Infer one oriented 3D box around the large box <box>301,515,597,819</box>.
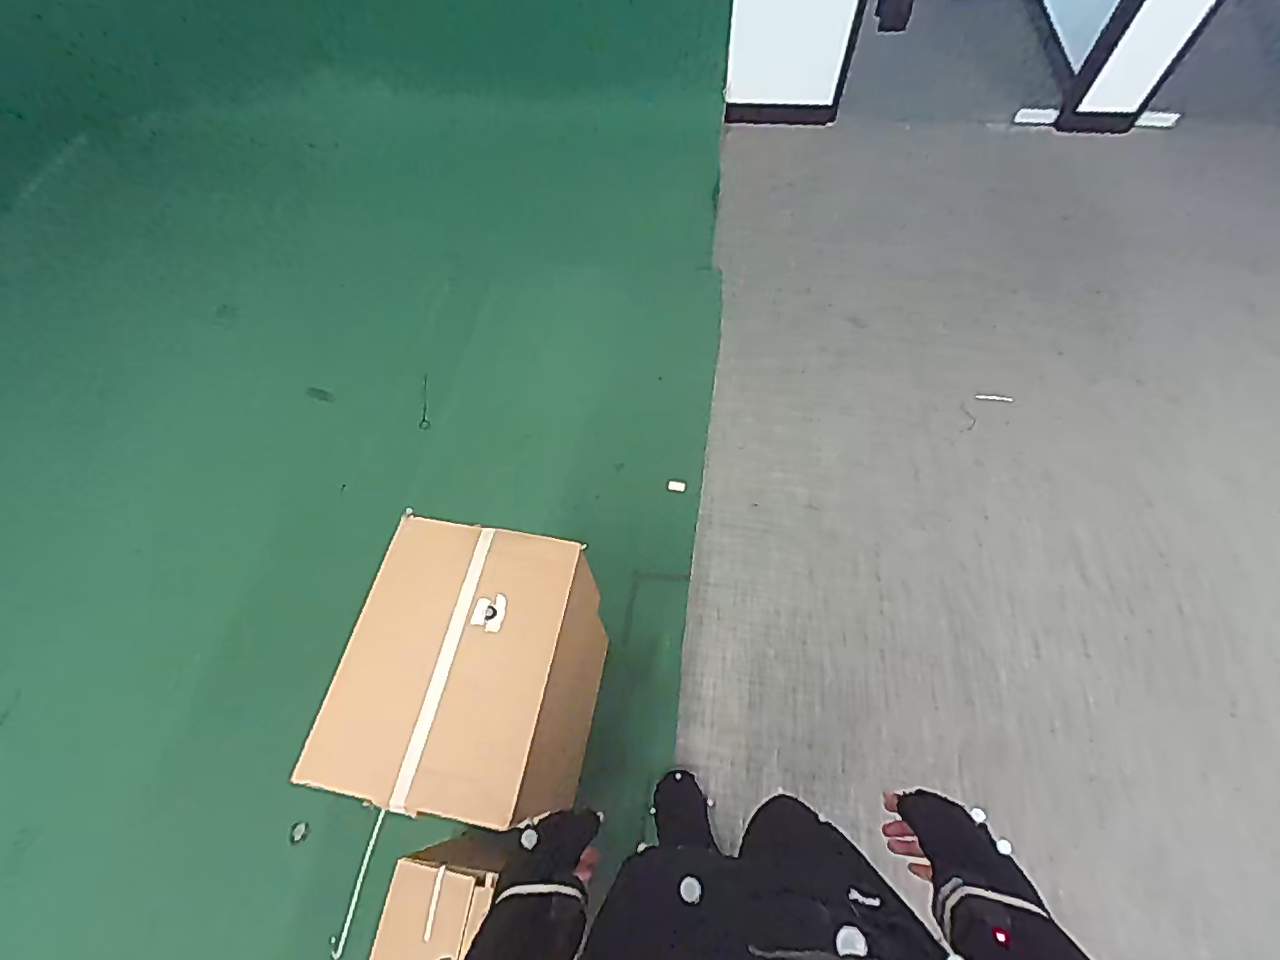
[{"bbox_3d":[-0.277,0.323,0.937,0.320,0.320,0.408,9,62,6],"label":"large box"}]
